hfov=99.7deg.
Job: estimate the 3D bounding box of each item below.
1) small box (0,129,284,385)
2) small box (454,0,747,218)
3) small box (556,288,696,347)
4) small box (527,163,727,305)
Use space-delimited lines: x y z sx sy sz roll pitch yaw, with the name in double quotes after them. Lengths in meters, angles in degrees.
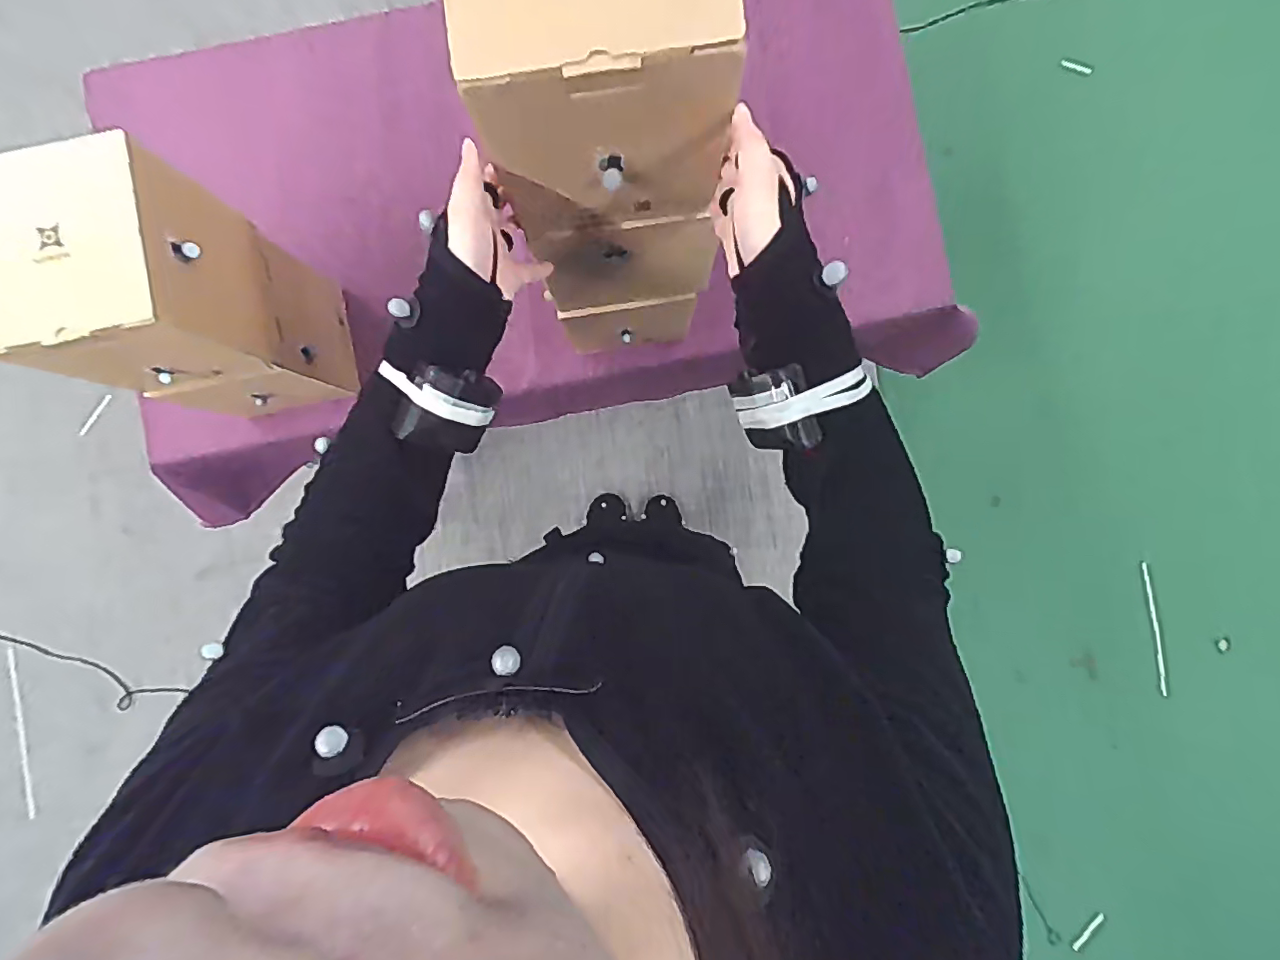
-0.507 -0.210 0.554 0.168 0.176 0.179 -11 89 1 "small box"
-0.026 -0.309 0.386 0.168 0.176 0.179 -6 89 0 "small box"
-0.022 -0.283 0.715 0.168 0.176 0.179 -8 88 0 "small box"
-0.017 -0.292 0.551 0.179 0.176 0.168 -7 89 0 "small box"
